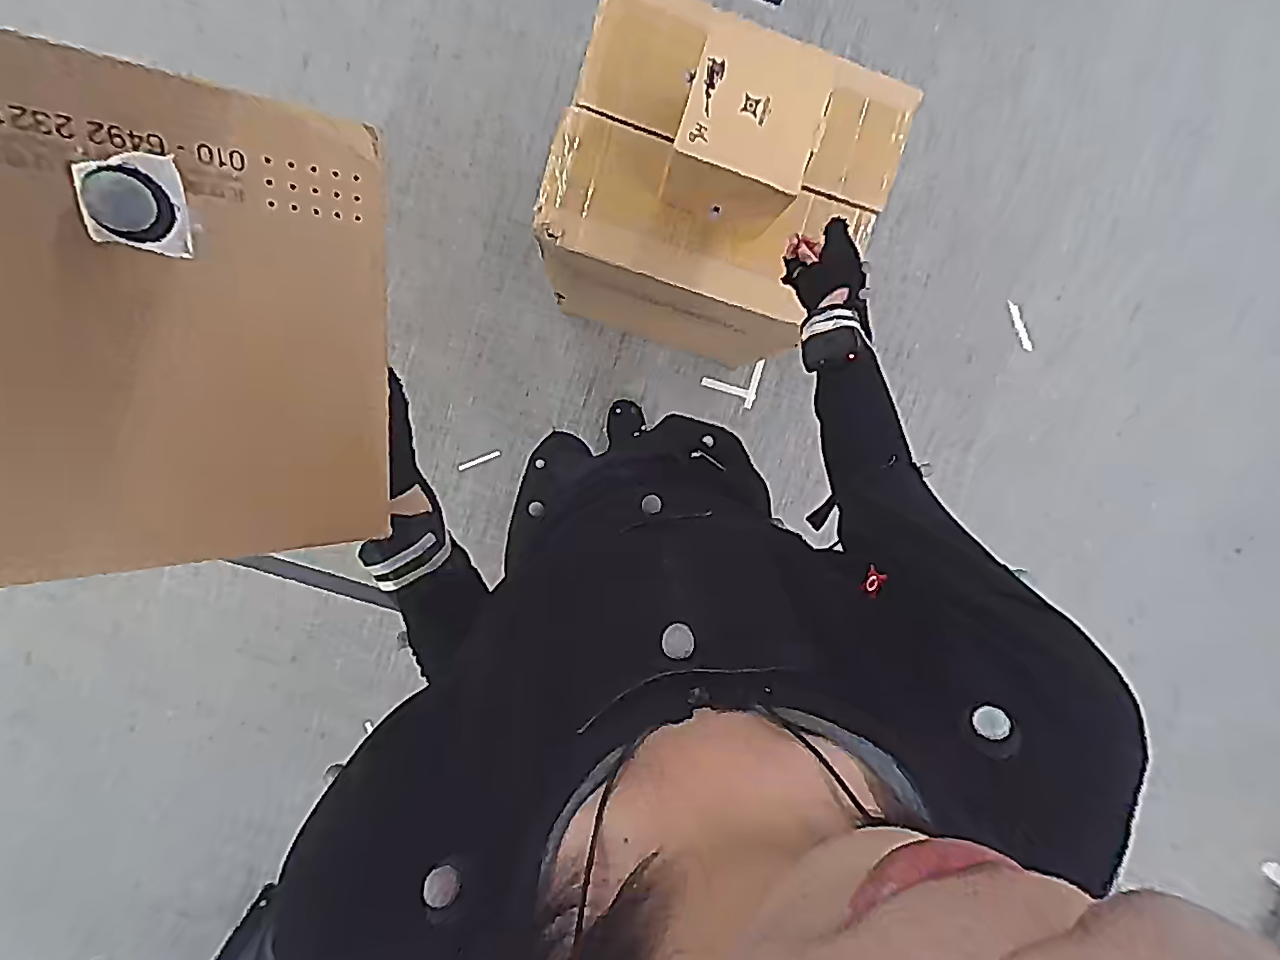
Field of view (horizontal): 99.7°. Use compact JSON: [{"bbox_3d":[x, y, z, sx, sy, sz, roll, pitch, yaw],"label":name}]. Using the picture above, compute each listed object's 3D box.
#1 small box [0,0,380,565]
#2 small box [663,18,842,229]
[{"bbox_3d":[-0.217,-0.083,0.235,0.168,0.179,0.176,-7,117,-31],"label":"small box"},{"bbox_3d":[0.145,-0.479,0.762,0.179,0.176,0.168,17,96,-6],"label":"small box"}]
